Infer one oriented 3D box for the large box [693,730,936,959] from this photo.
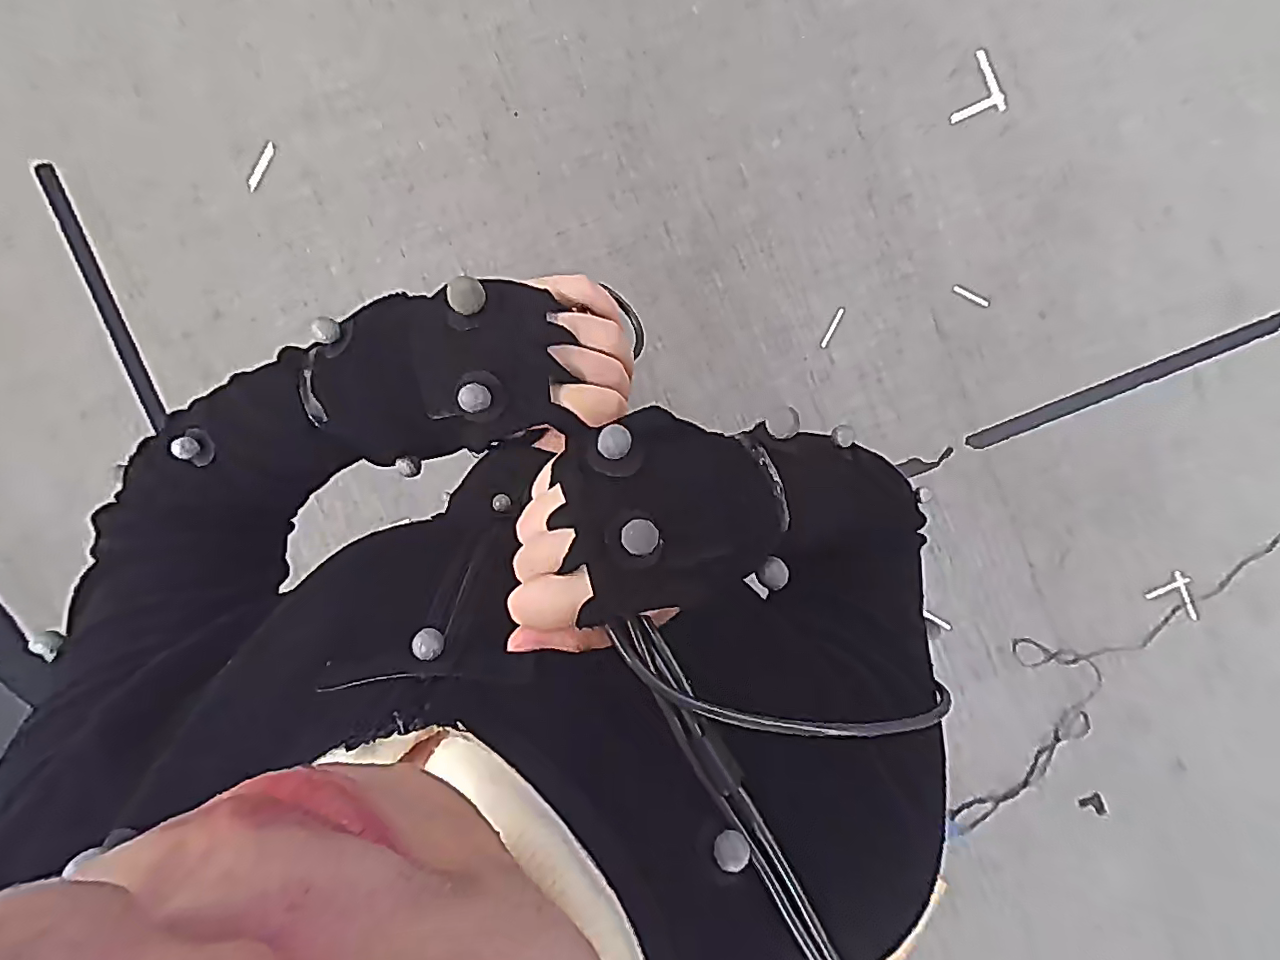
[{"bbox_3d":[0.361,0.869,1.219,0.320,0.320,0.408,30,92,-3],"label":"large box"}]
